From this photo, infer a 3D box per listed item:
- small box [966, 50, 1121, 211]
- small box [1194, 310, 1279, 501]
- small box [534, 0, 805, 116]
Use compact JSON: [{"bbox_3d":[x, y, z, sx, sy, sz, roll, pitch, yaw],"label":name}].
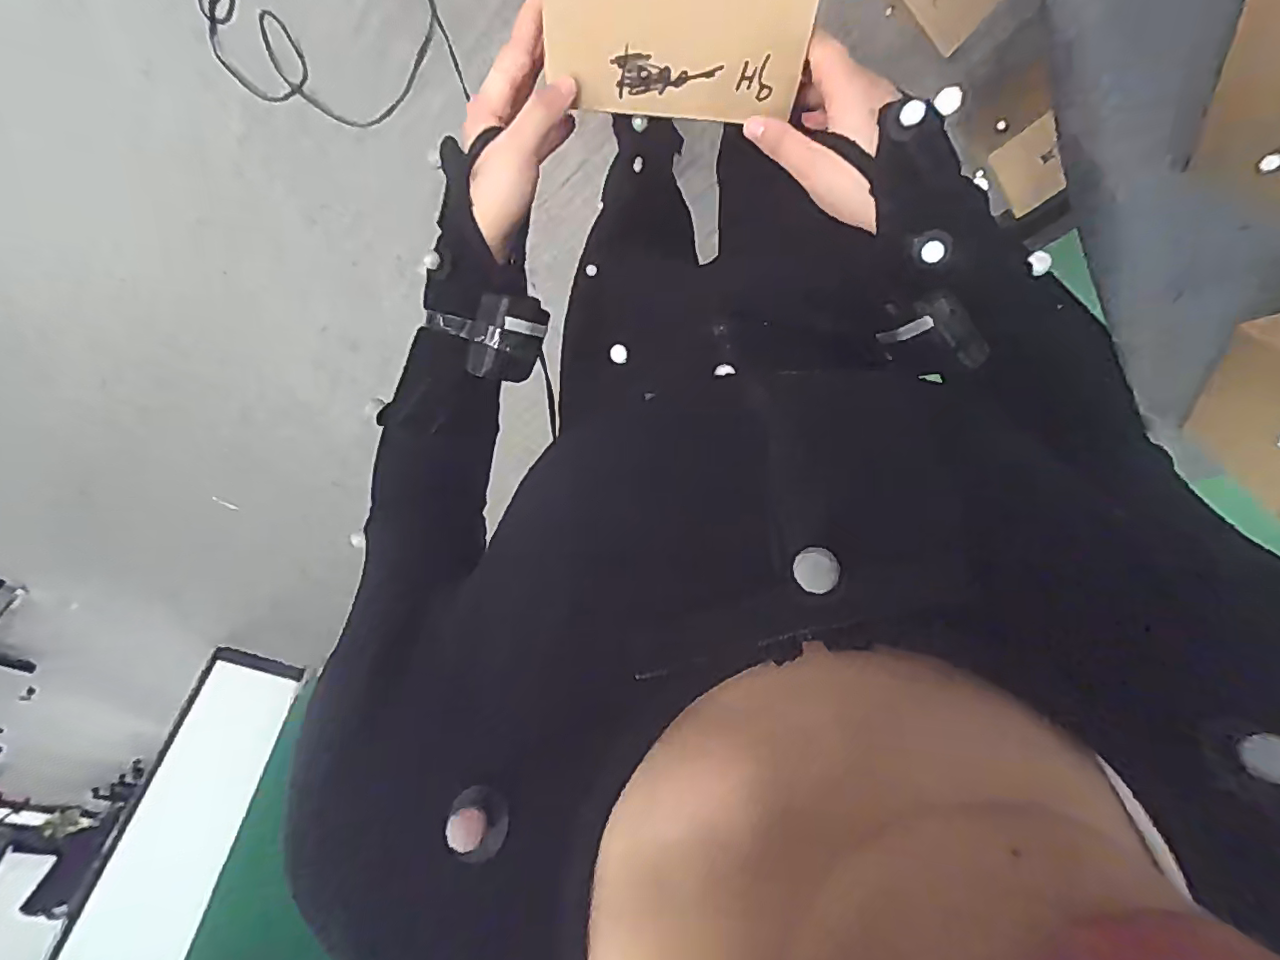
[{"bbox_3d":[0.766,-0.675,1.047,0.168,0.176,0.179,32,130,-31],"label":"small box"},{"bbox_3d":[0.789,-0.093,0.601,0.168,0.176,0.179,-15,136,14],"label":"small box"},{"bbox_3d":[0.019,-0.368,0.354,0.168,0.176,0.179,2,138,-3],"label":"small box"}]
